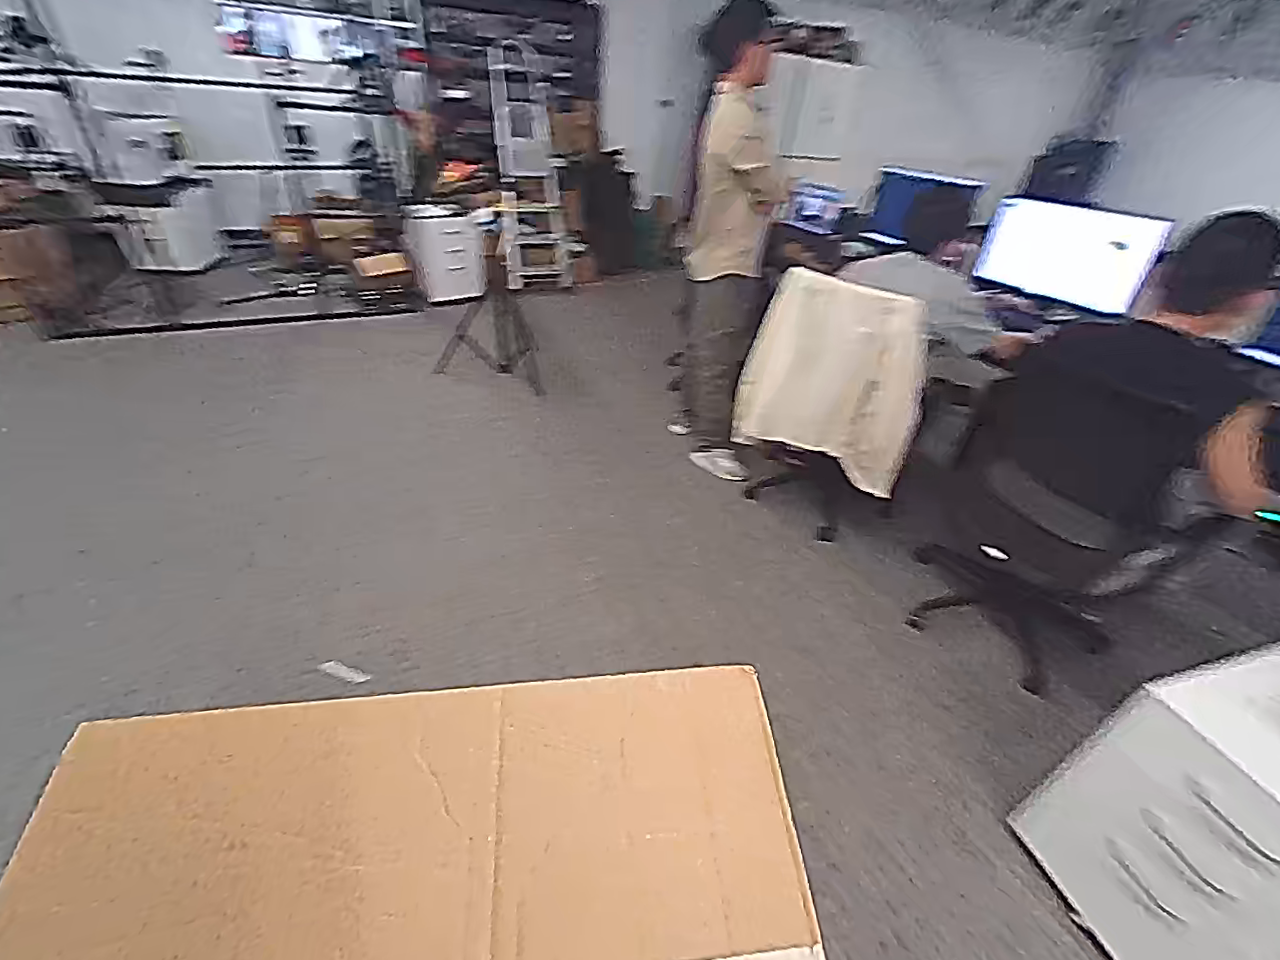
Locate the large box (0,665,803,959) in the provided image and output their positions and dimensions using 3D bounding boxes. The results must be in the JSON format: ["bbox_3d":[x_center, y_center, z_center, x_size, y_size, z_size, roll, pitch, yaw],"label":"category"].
[{"bbox_3d":[-0.122,0.355,0.369,0.408,0.320,0.320,-4,53,-8],"label":"large box"}]
